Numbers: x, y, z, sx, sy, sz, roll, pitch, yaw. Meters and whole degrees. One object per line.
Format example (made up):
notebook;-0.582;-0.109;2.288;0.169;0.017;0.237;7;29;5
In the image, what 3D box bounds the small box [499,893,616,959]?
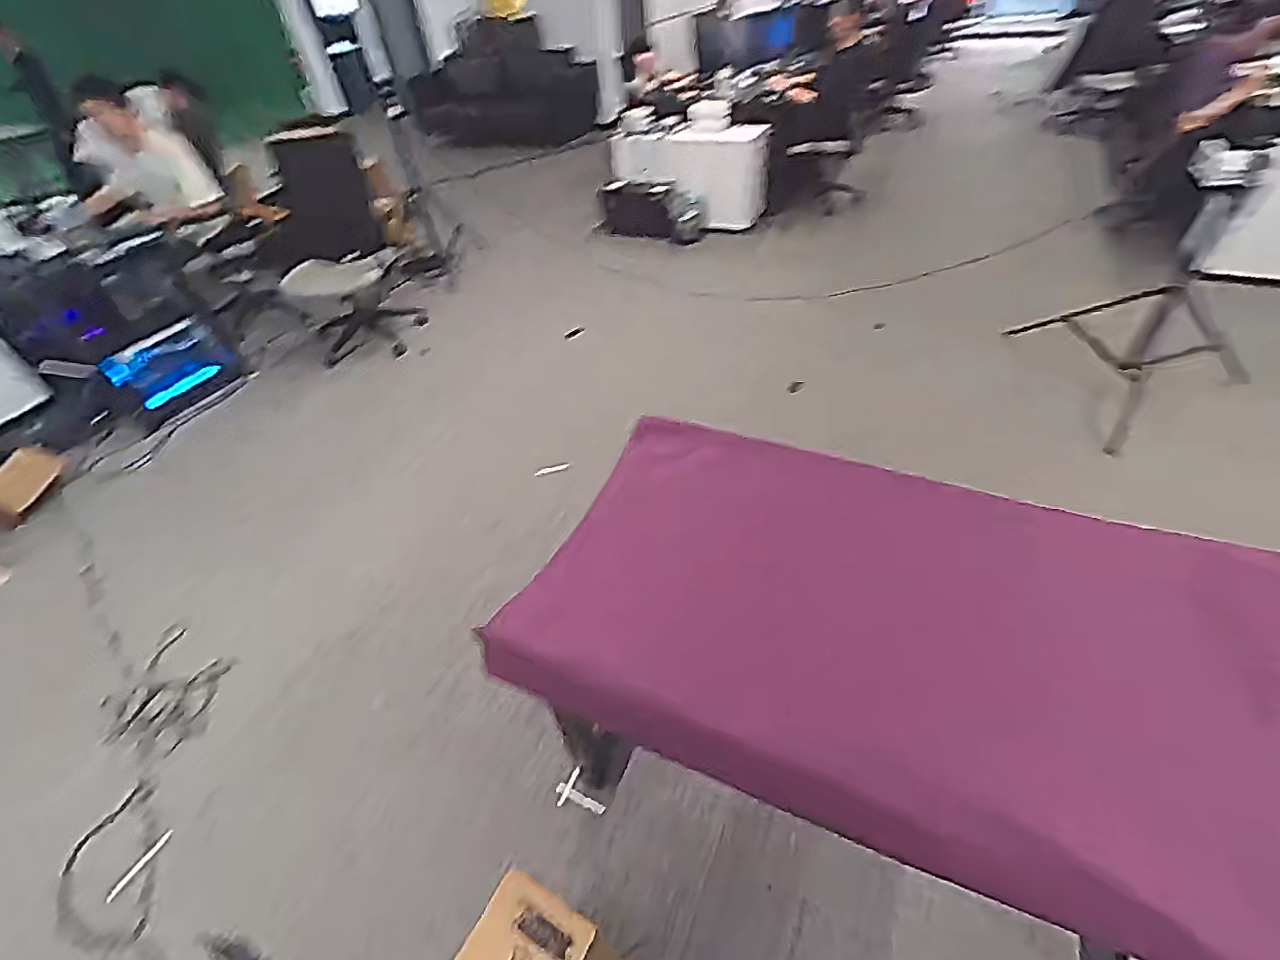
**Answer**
small box;-0.152;0.871;0.937;0.168;0.176;0.179;17;49;23
